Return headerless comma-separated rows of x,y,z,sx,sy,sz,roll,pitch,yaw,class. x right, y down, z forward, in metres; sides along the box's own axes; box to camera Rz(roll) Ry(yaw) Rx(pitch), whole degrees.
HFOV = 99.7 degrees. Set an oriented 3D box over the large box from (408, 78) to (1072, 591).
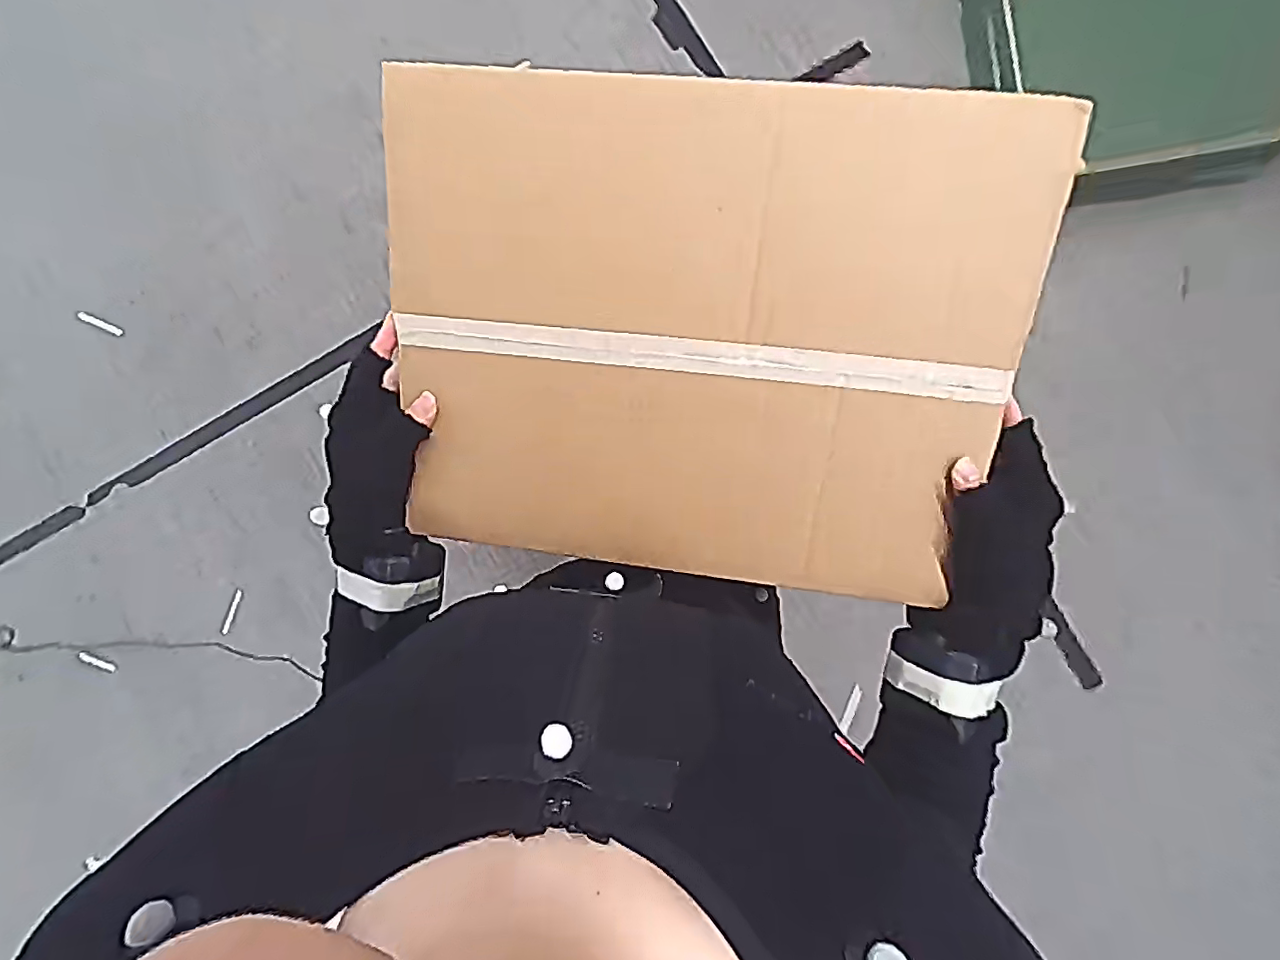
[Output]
0.054,-0.128,0.507,0.408,0.320,0.320,7,109,6,large box
